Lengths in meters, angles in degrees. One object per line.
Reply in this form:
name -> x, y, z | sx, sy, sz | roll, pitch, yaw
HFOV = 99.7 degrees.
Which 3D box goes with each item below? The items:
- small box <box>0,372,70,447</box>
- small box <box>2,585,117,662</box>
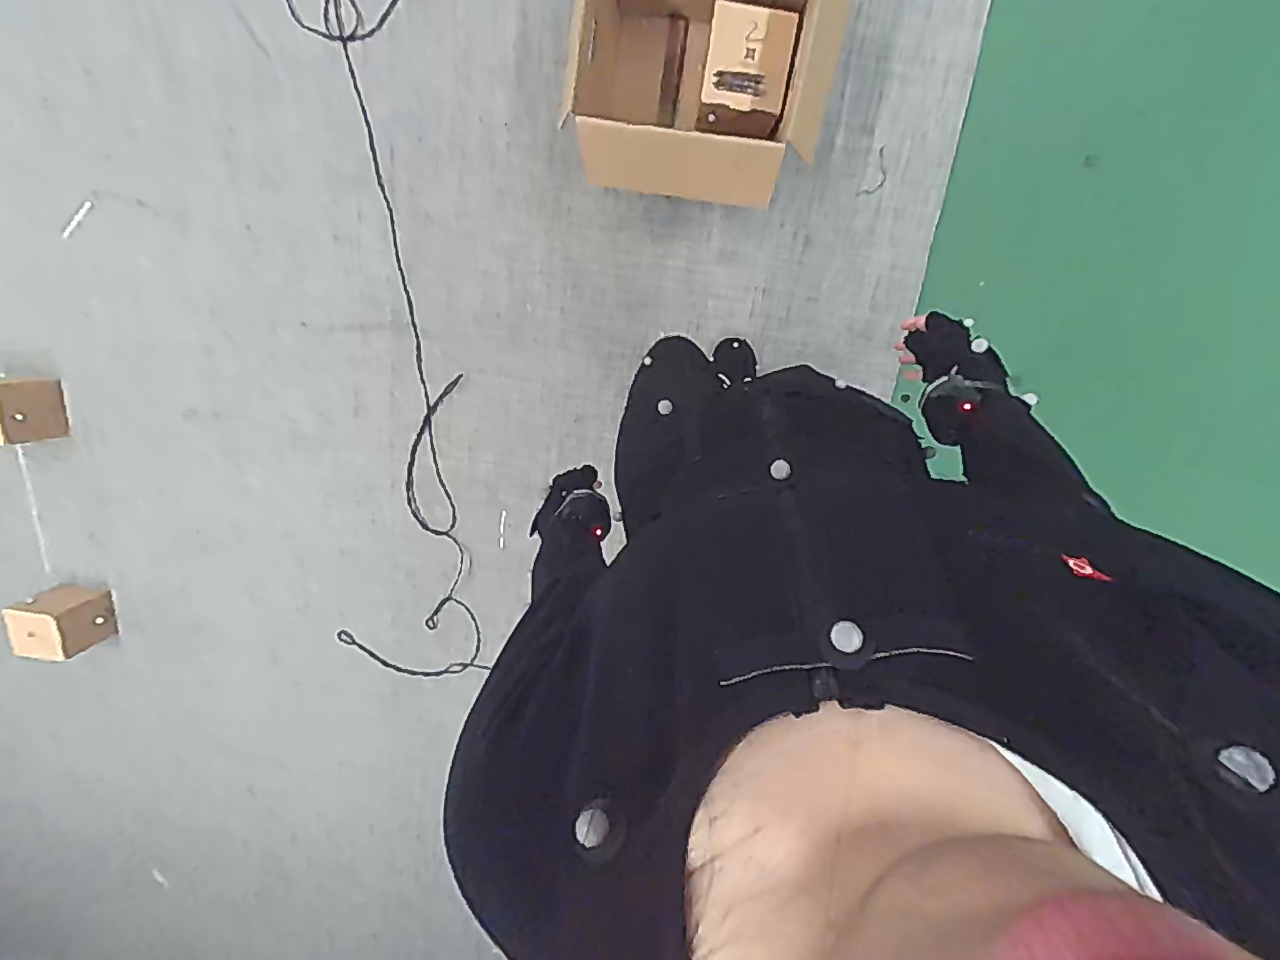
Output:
small box -> -1.784, -0.204, 1.523 | 0.168, 0.176, 0.179 | 7, 107, 3
small box -> -1.838, 0.450, 1.722 | 0.179, 0.176, 0.168 | 7, 107, 3
